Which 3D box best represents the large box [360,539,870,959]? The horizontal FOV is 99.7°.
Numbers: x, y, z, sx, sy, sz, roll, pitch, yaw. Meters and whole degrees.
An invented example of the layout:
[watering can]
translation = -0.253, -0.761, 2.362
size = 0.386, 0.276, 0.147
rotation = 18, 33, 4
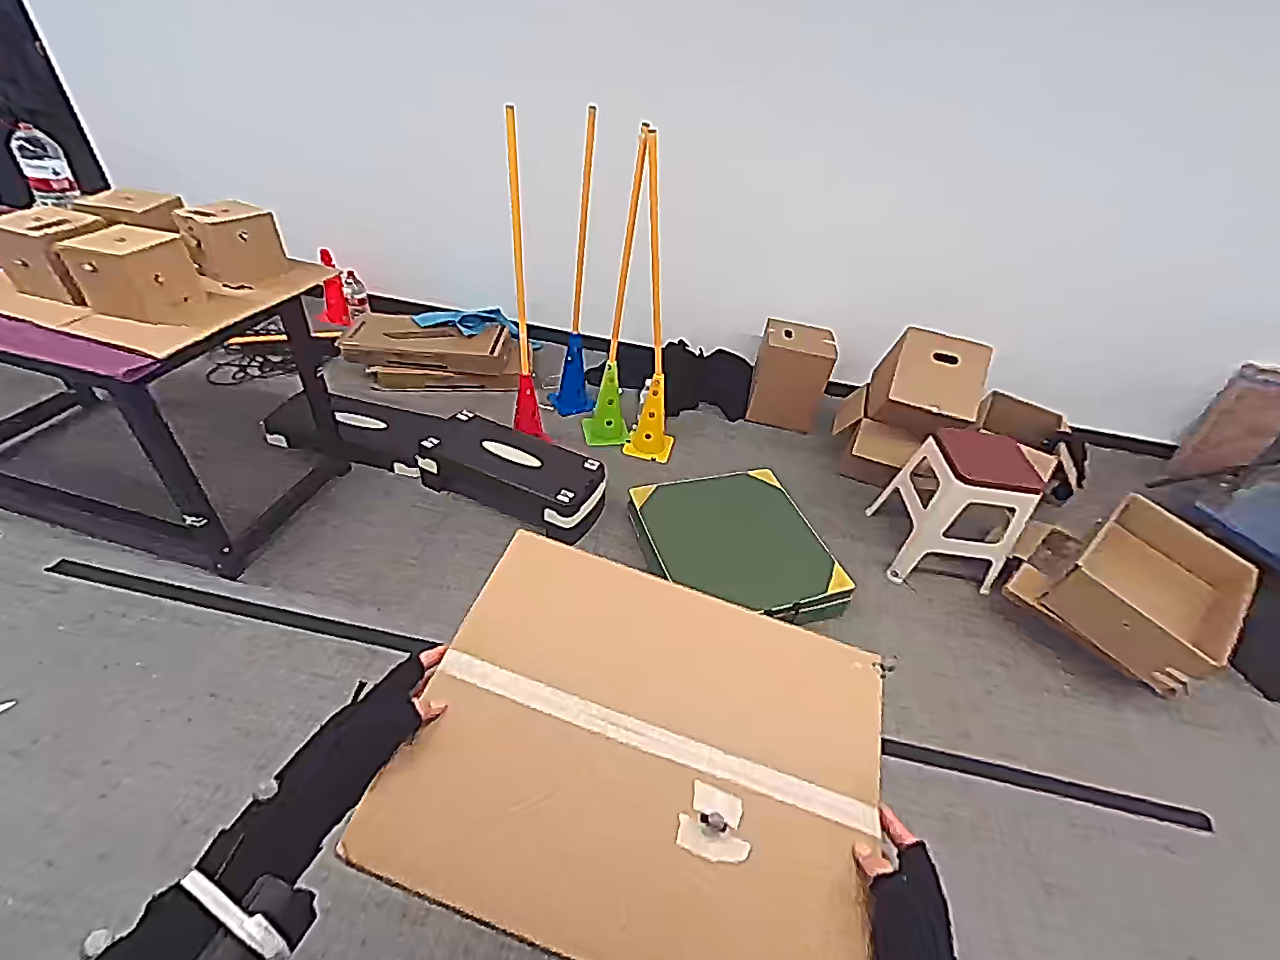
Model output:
[large box]
translation = -0.010, 0.325, 0.606
size = 0.408, 0.320, 0.320
rotation = 19, 51, 5
